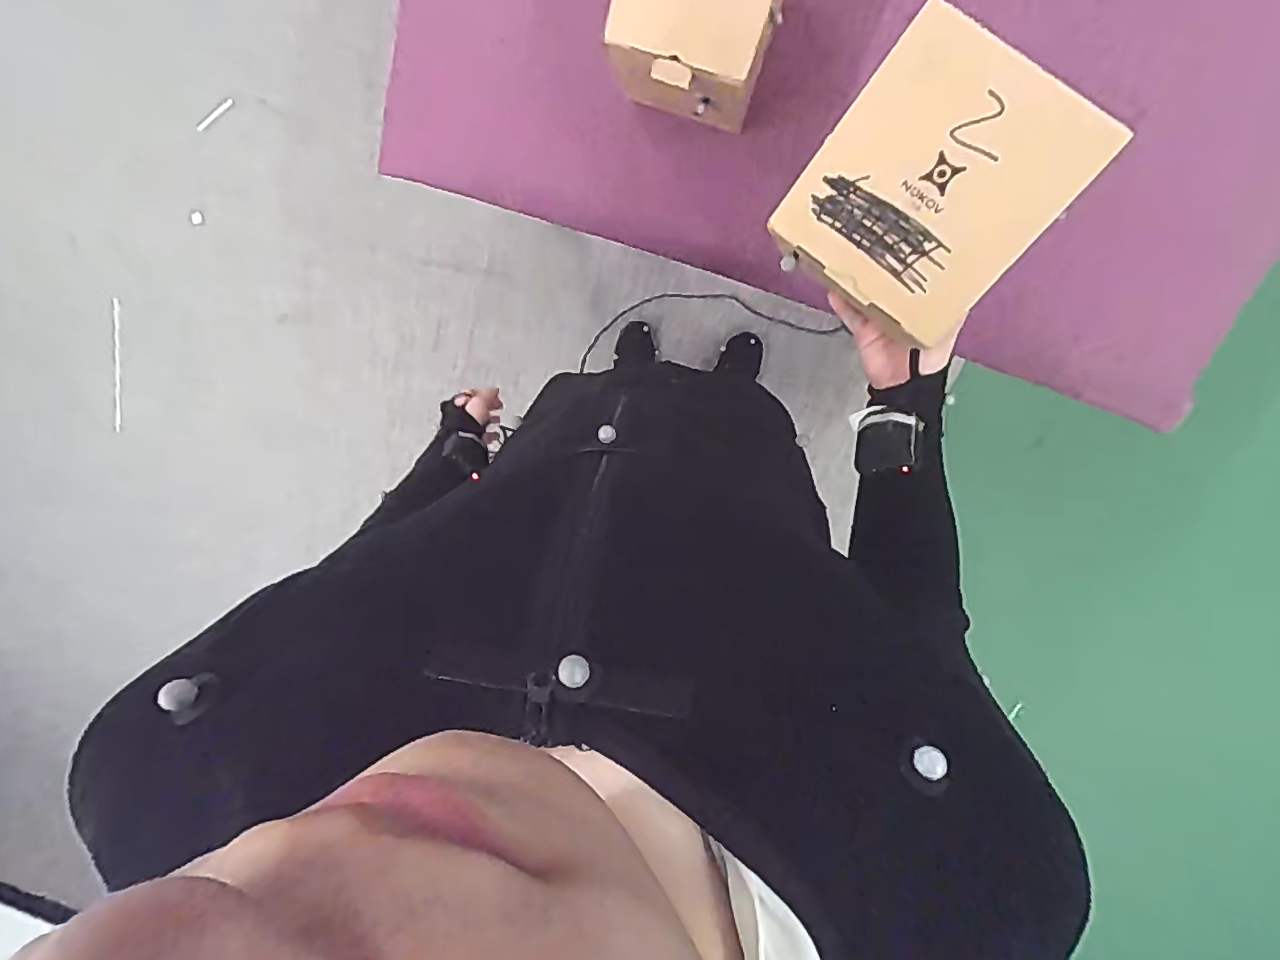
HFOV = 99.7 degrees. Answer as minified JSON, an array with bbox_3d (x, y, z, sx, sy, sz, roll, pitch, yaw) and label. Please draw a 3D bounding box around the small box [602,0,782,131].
[{"bbox_3d":[0.071,-0.552,0.642,0.168,0.176,0.179,20,108,2],"label":"small box"}]
